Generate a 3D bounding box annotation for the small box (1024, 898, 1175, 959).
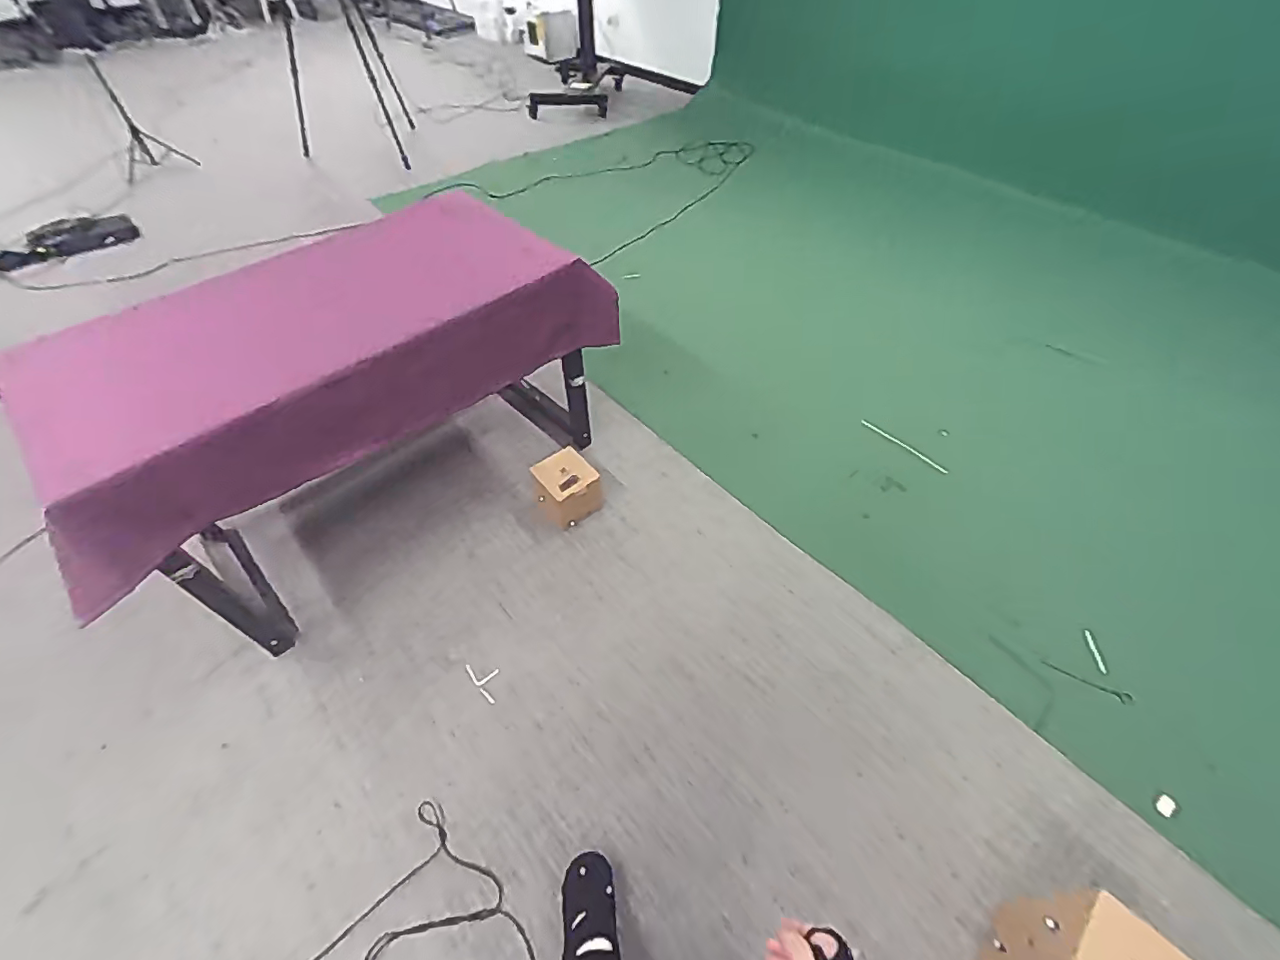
[{"bbox_3d":[0.774,0.844,0.893,0.168,0.176,0.179,-37,59,-25],"label":"small box"}]
